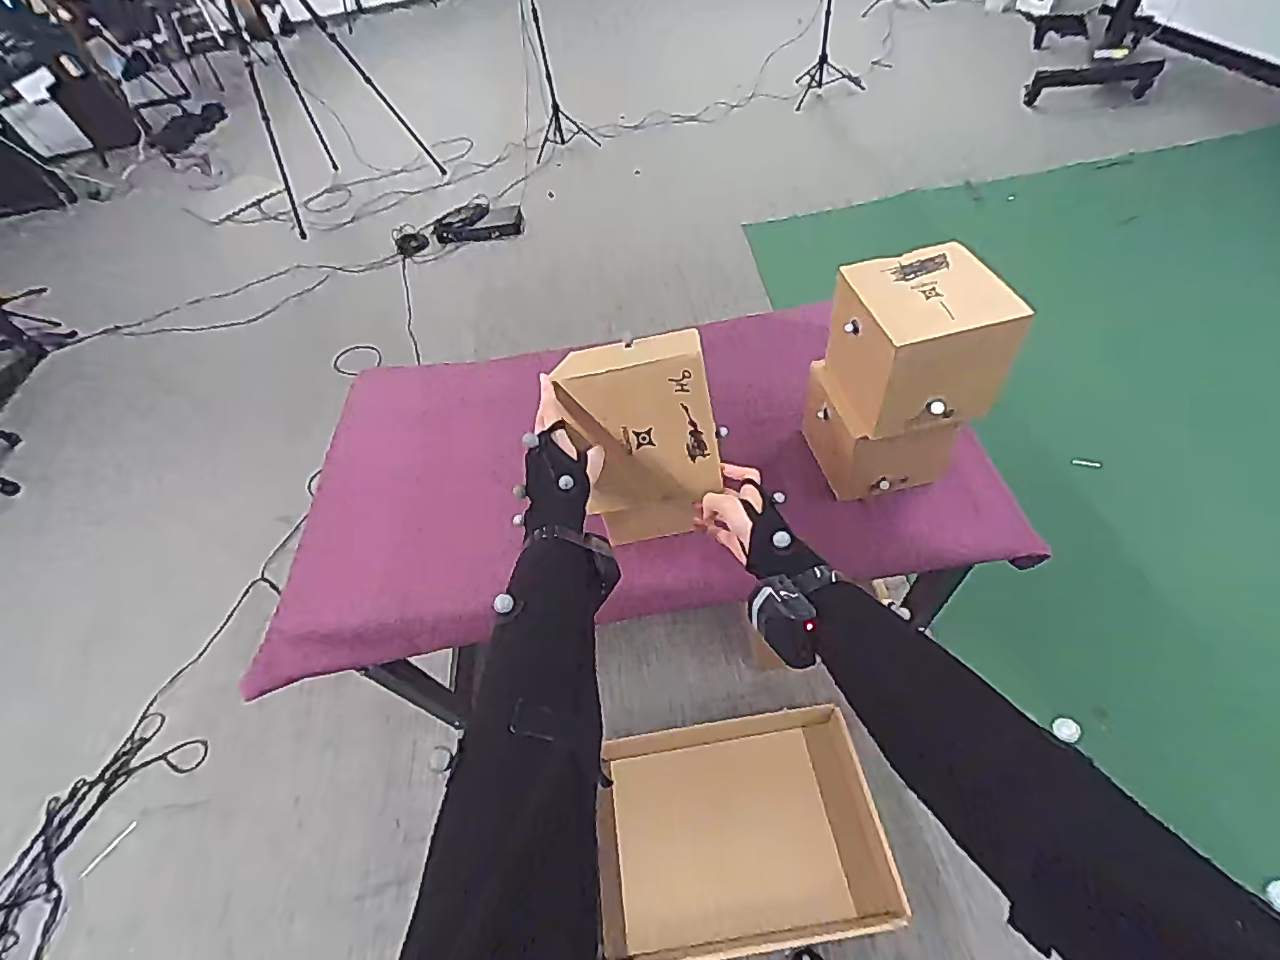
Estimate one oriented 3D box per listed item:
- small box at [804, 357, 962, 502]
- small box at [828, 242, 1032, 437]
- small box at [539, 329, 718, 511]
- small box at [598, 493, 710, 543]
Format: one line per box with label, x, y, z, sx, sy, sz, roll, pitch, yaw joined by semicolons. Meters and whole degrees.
small box;0.374;-0.092;0.868;0.168;0.176;0.179;-13;51;1
small box;0.369;-0.187;0.733;0.168;0.176;0.179;-13;51;2
small box;-0.002;-0.080;0.669;0.179;0.168;0.176;-9;23;9
small box;0.015;-0.019;0.872;0.179;0.176;0.168;-11;51;2
